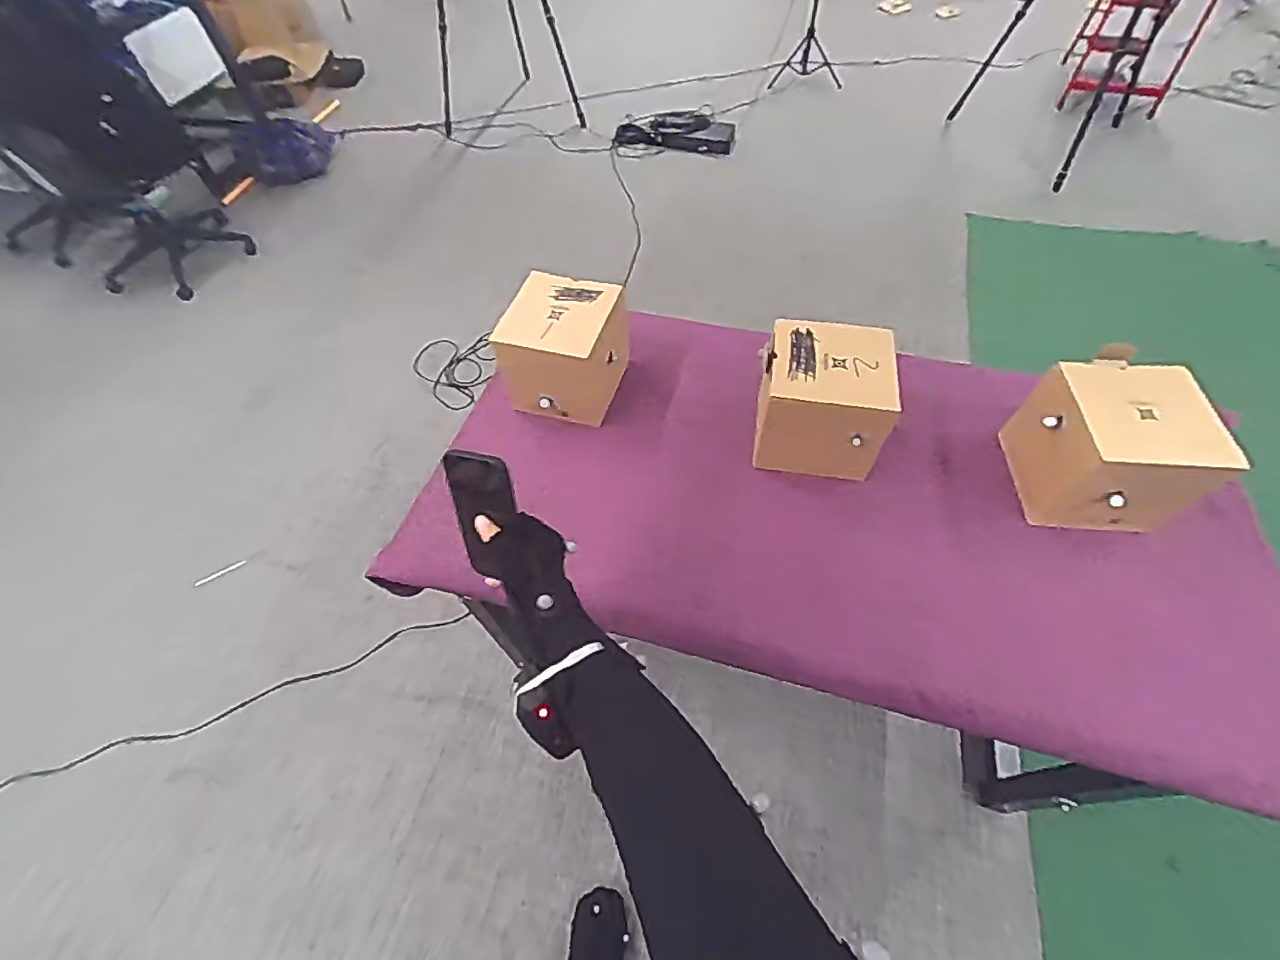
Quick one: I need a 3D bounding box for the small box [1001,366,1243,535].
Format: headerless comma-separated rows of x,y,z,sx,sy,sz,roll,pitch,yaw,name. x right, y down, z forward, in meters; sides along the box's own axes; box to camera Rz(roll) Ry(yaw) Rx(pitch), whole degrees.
0.652,-0.037,0.763,0.168,0.176,0.179,4,56,6,small box

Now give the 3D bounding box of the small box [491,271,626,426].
-0.126,-0.221,0.920,0.168,0.176,0.179,14,59,12,small box
